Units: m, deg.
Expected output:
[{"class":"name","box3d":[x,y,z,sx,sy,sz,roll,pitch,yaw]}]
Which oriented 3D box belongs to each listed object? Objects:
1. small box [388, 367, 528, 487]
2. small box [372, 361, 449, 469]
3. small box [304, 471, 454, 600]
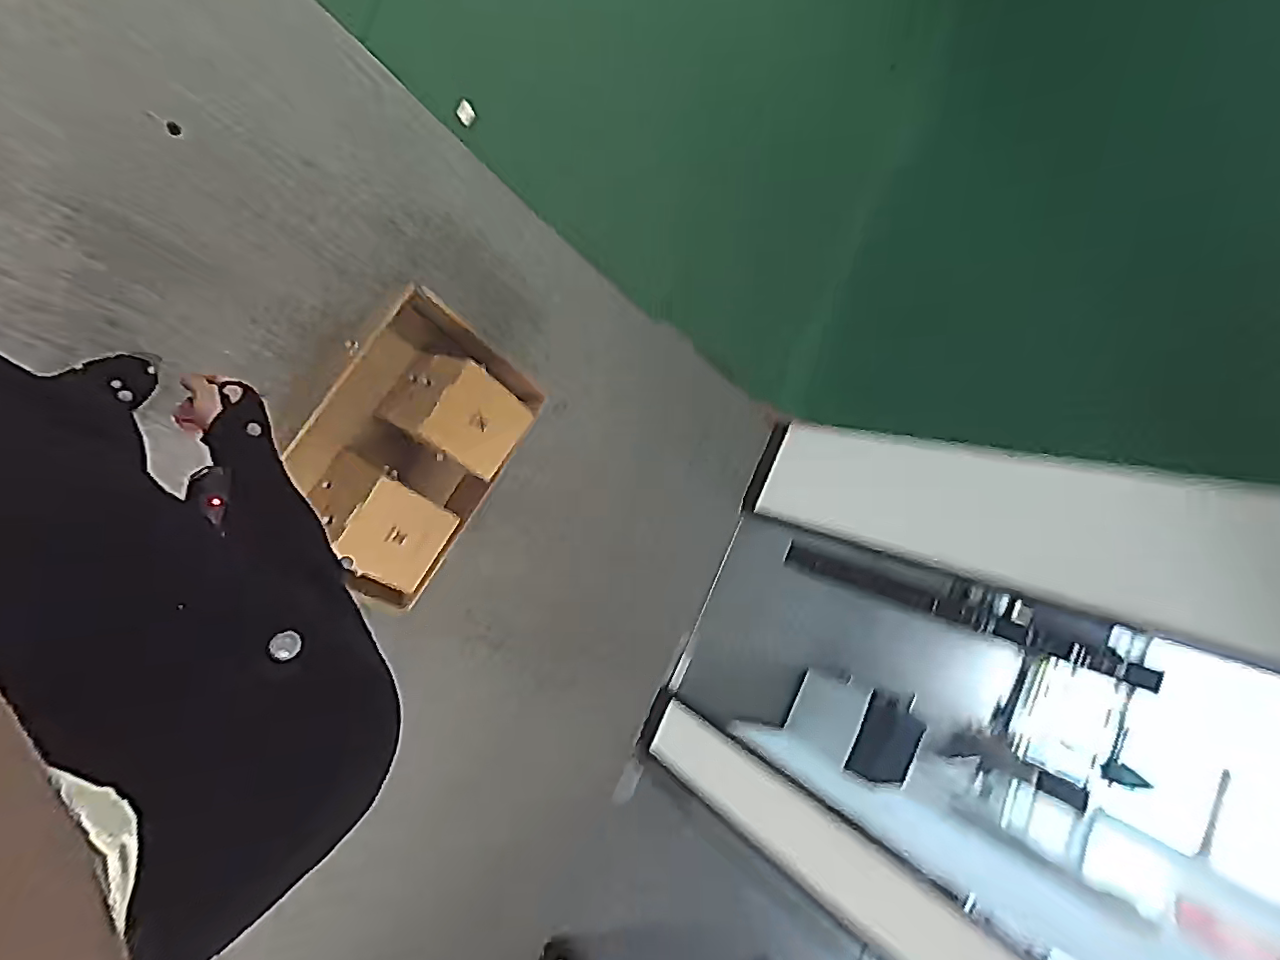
[{"class":"small box","box3d":[-0.367,-0.113,1.089,0.179,0.176,0.168,44,73,-39]},{"class":"small box","box3d":[-0.467,-0.151,1.214,0.168,0.176,0.179,43,73,-40]},{"class":"small box","box3d":[-0.499,0.097,1.027,0.179,0.176,0.168,42,74,-41]}]
